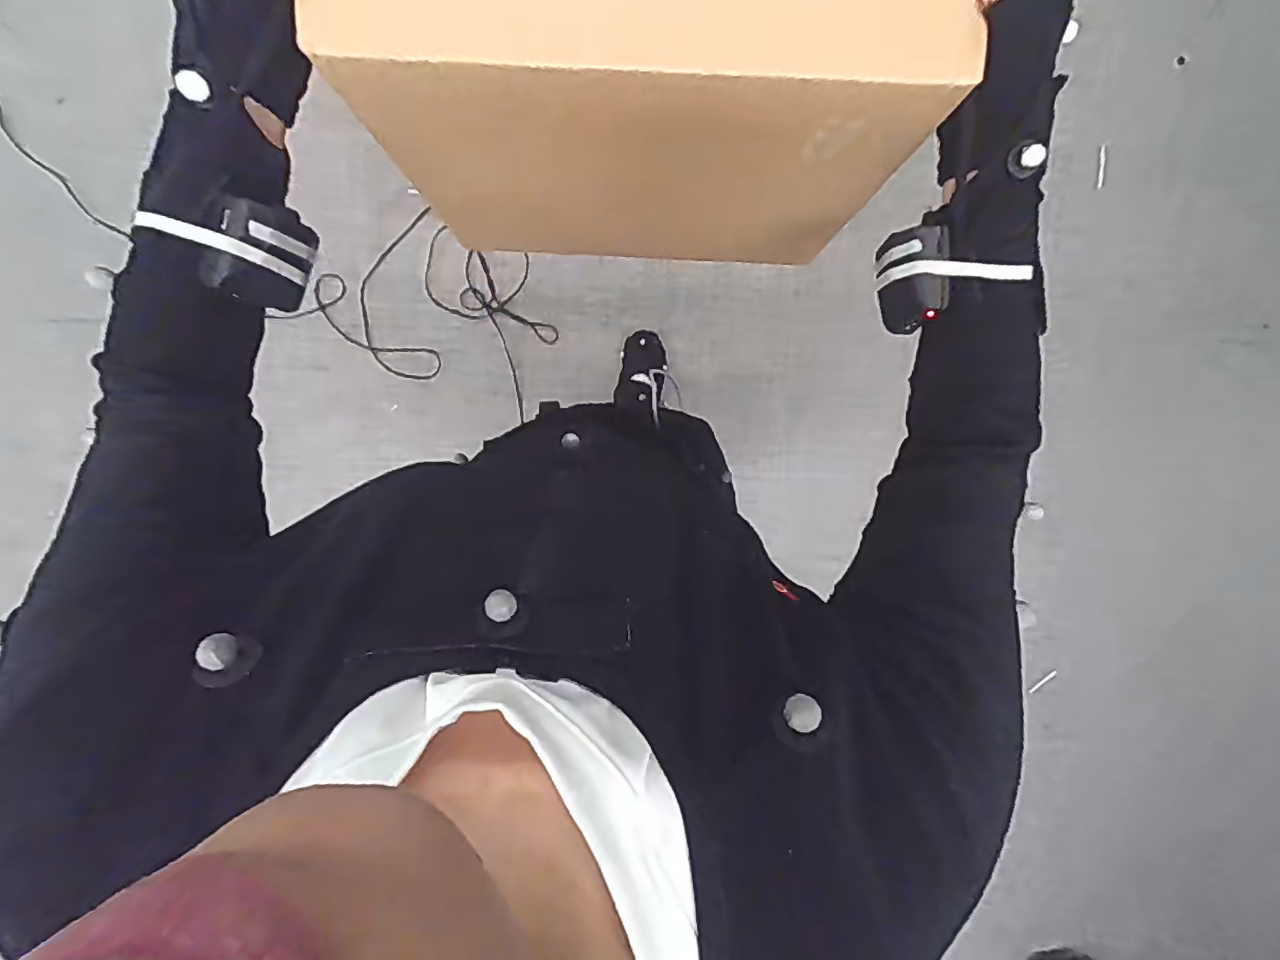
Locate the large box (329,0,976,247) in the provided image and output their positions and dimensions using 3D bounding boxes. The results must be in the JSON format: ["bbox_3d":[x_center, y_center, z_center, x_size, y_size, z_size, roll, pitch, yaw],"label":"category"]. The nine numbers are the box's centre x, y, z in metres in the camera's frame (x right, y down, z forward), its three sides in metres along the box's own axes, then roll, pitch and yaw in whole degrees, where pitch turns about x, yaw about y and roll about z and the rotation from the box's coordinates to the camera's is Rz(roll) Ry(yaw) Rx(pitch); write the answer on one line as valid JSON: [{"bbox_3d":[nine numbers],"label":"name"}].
[{"bbox_3d":[0.006,-0.418,0.472,0.408,0.320,0.320,1,94,-2],"label":"large box"}]
